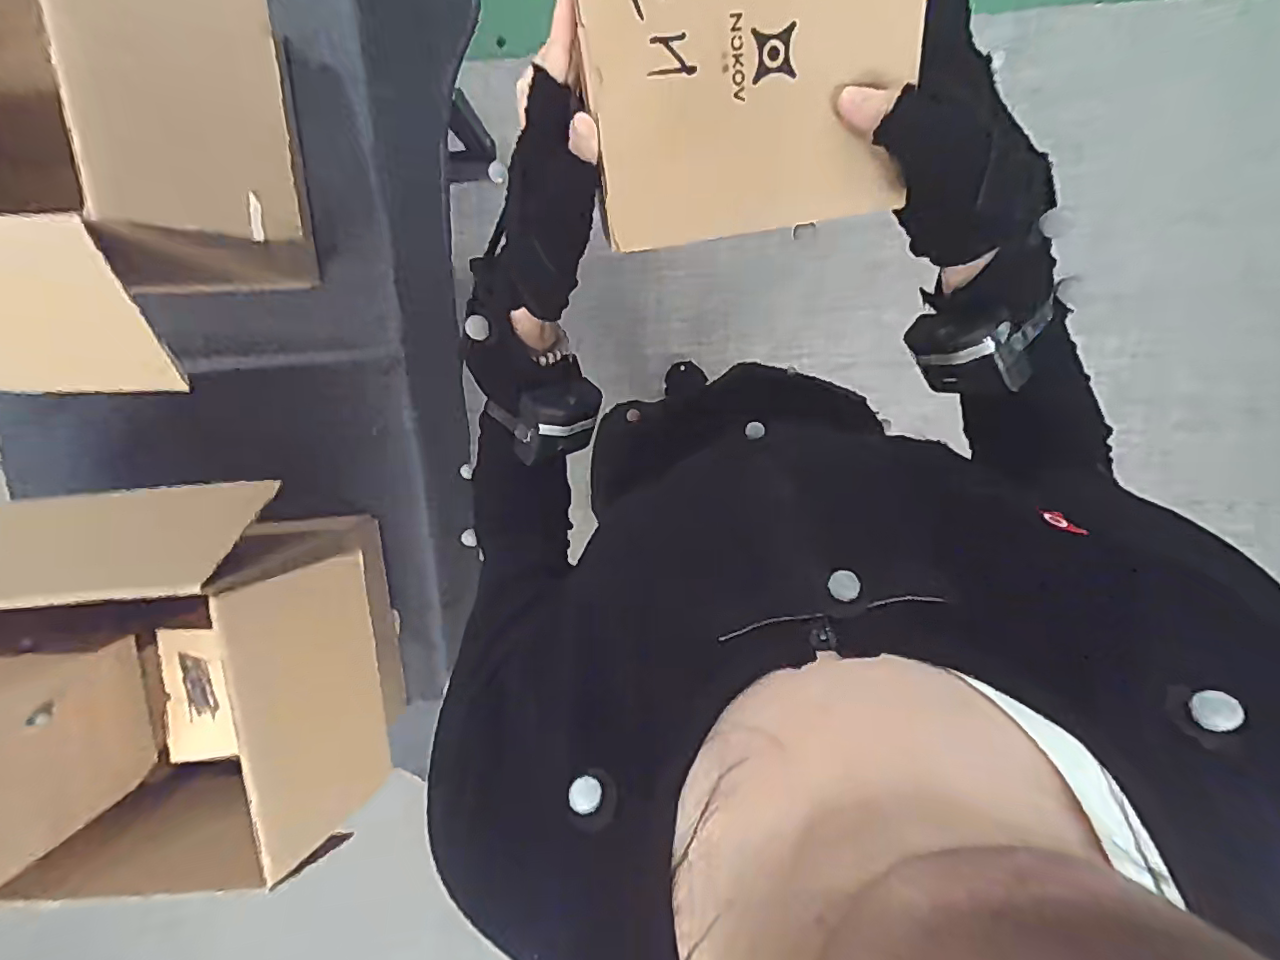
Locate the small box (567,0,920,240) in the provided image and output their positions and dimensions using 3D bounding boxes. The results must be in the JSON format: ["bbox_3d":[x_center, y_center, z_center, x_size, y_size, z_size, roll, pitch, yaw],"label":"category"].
[{"bbox_3d":[0.051,-0.260,0.349,0.179,0.176,0.168,-9,119,-2],"label":"small box"}]
